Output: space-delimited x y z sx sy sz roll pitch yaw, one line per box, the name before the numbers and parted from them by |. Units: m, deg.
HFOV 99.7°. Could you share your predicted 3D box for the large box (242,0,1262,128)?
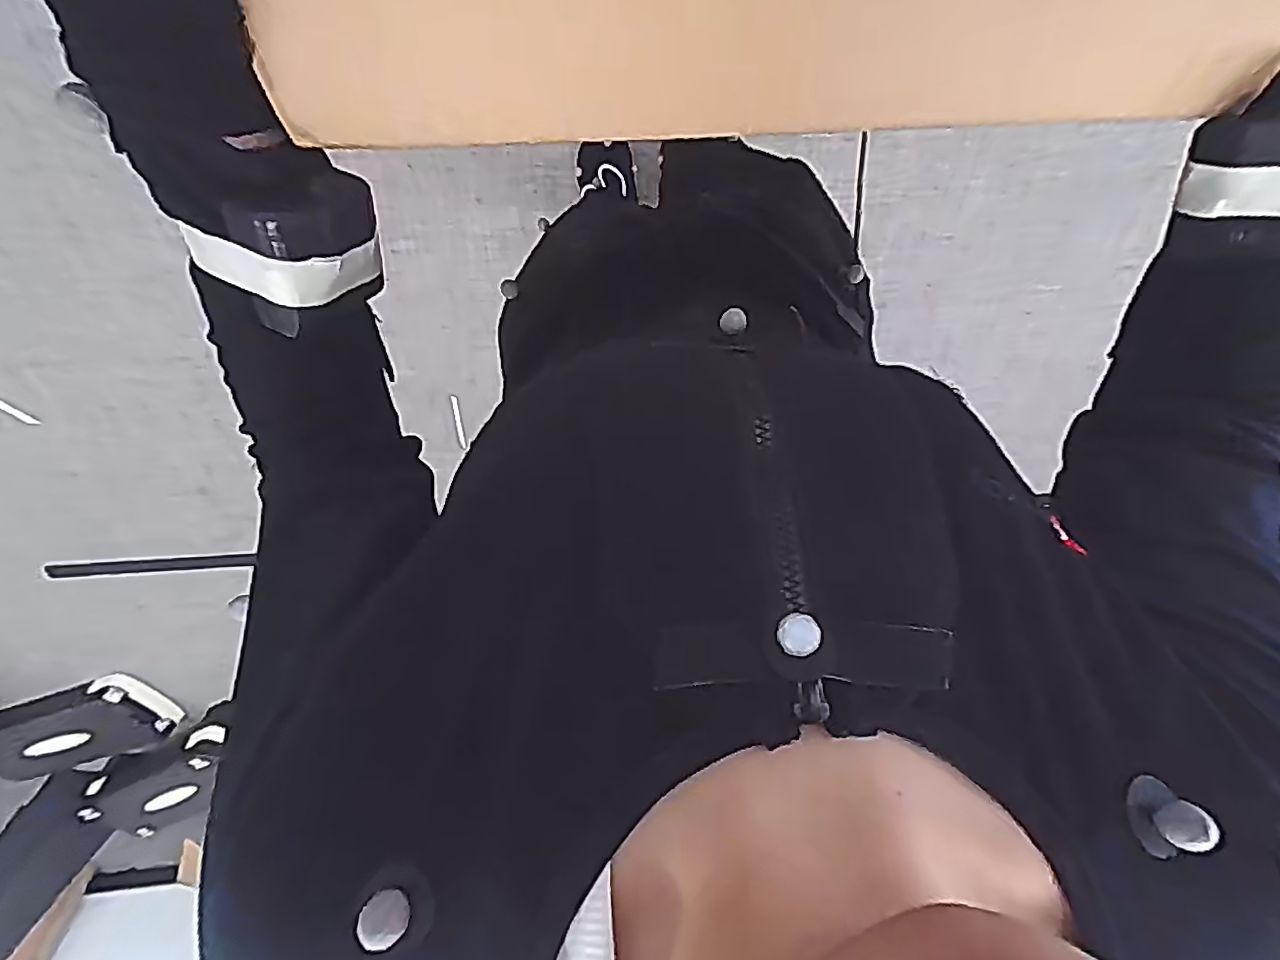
large box | 0.044 -0.371 0.197 0.408 0.320 0.320 -3 144 -3
